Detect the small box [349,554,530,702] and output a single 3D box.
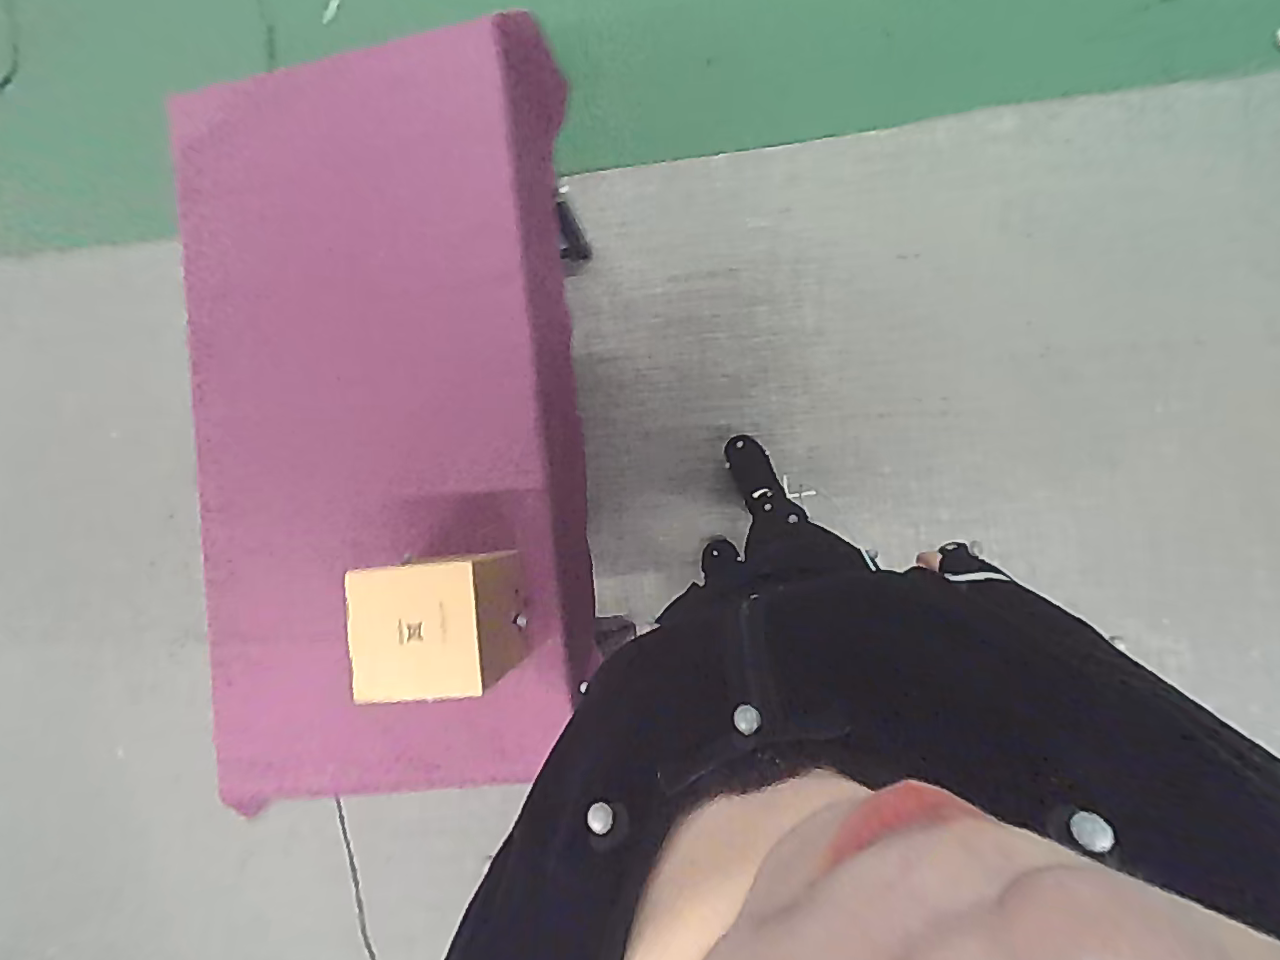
[{"bbox_3d":[-0.270,0.196,0.753,0.179,0.176,0.168,-6,86,8],"label":"small box"}]
